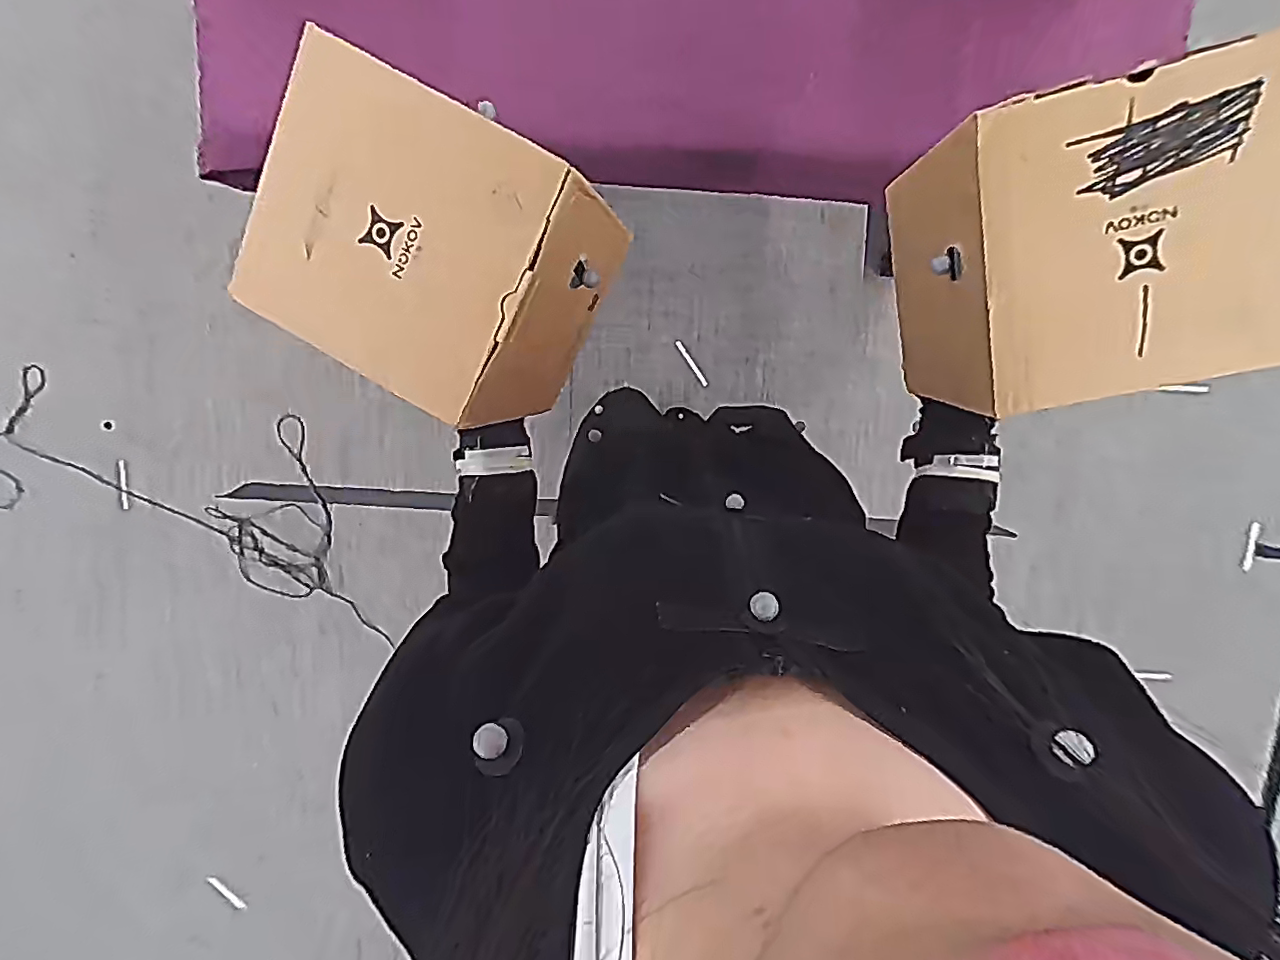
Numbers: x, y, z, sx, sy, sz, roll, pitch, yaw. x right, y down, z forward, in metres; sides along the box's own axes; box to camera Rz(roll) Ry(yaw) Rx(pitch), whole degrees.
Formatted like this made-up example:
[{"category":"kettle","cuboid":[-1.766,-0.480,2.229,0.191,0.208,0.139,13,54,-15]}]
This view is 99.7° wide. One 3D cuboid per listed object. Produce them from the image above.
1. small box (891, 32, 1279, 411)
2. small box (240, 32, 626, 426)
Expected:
[{"category":"small box","cuboid":[0.294,-0.158,0.386,0.168,0.176,0.179,-10,104,11]},{"category":"small box","cuboid":[-0.129,-0.159,0.396,0.179,0.176,0.168,30,104,4]}]
